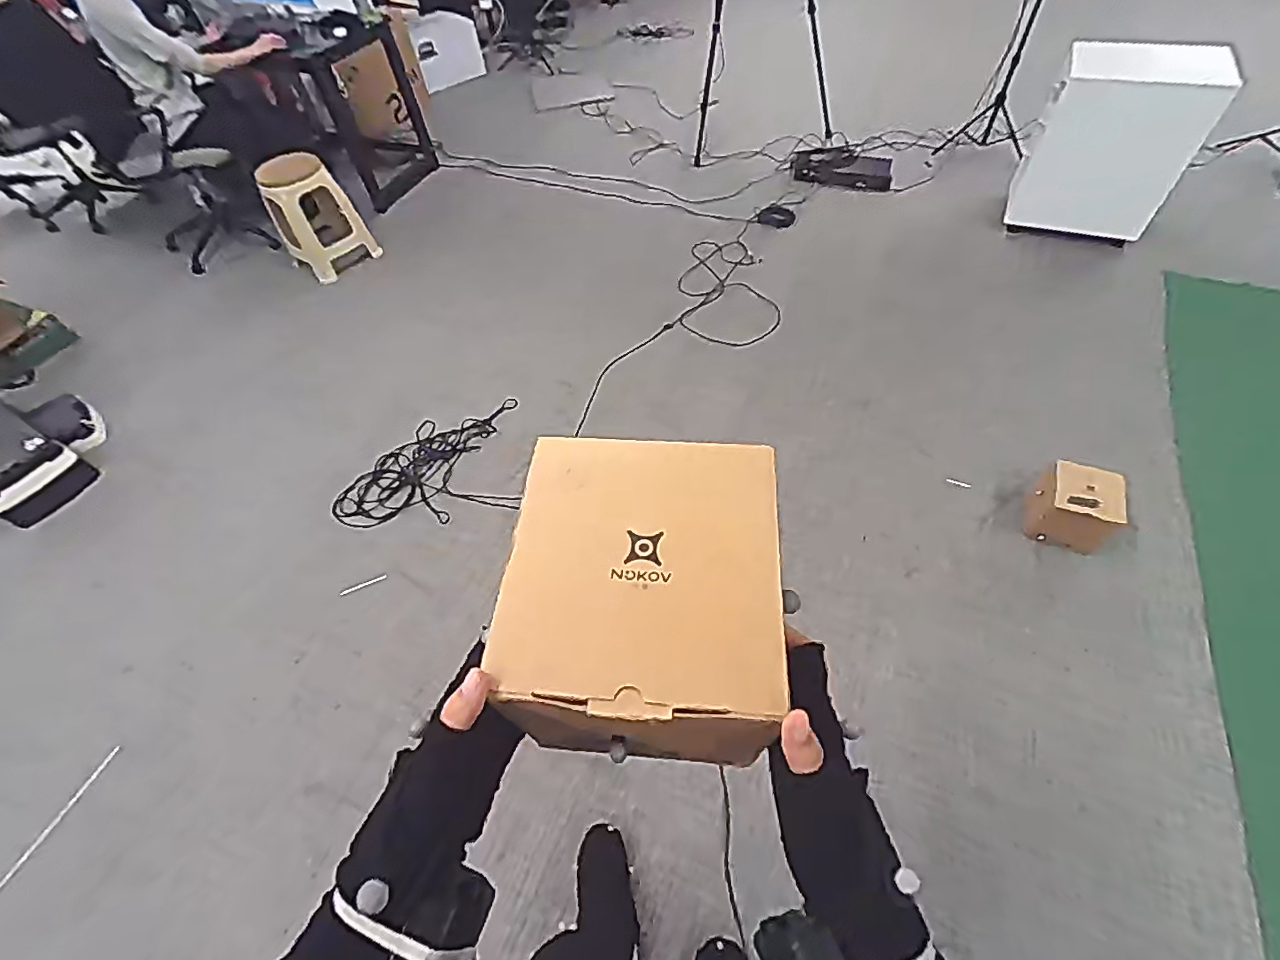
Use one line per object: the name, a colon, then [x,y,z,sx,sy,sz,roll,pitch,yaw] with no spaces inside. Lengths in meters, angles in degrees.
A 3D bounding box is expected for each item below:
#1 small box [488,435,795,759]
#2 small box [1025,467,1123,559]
small box: [0.009,0.089,0.394,0.168,0.176,0.179,2,56,5]
small box: [1.221,0.097,1.530,0.168,0.176,0.179,19,57,18]
